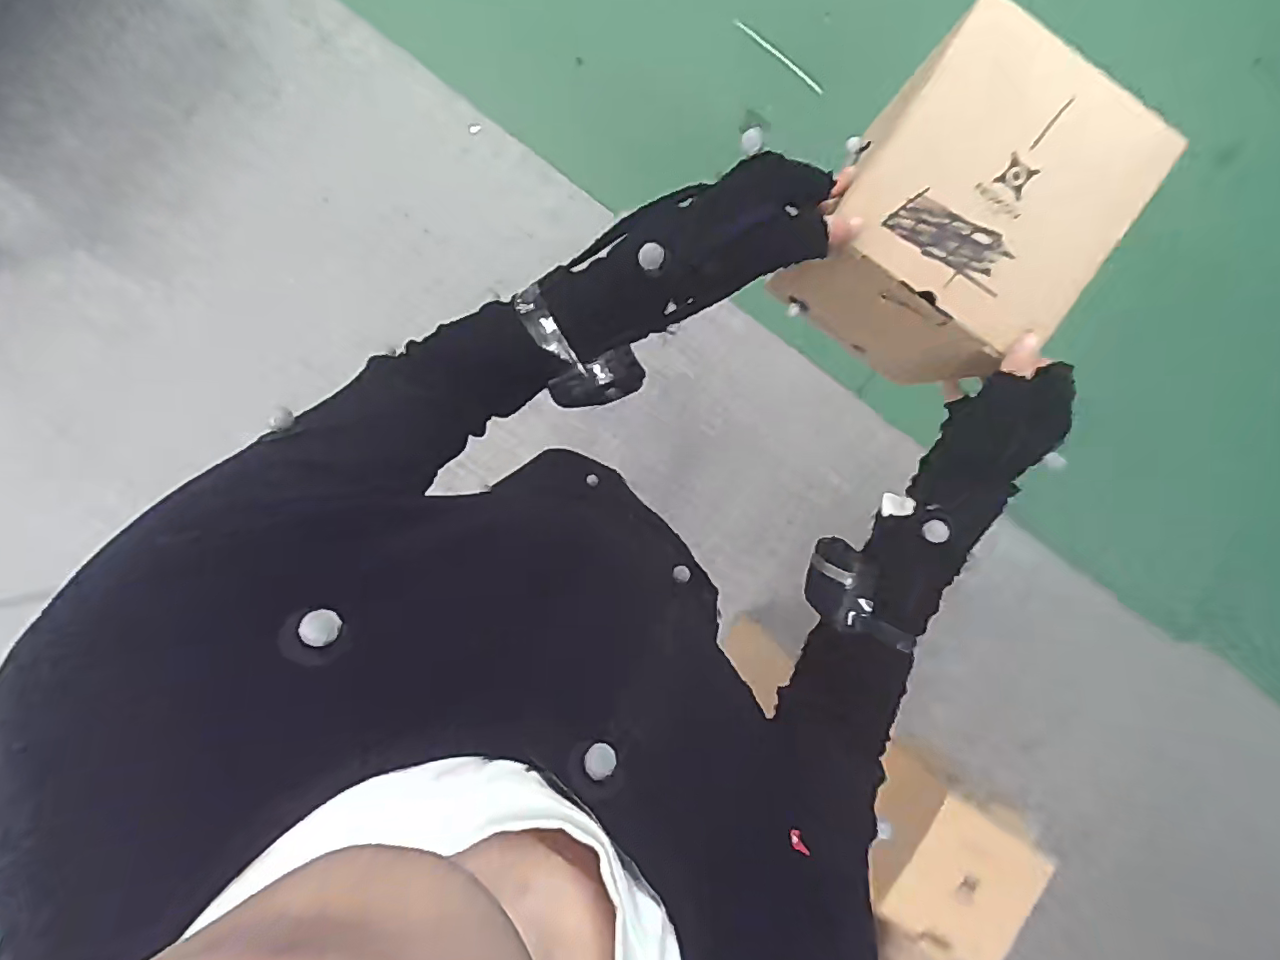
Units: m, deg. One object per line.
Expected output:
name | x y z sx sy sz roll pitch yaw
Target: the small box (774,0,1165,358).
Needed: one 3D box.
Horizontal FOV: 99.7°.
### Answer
small box | 0.228 -0.216 0.433 0.168 0.176 0.179 32 95 -6
